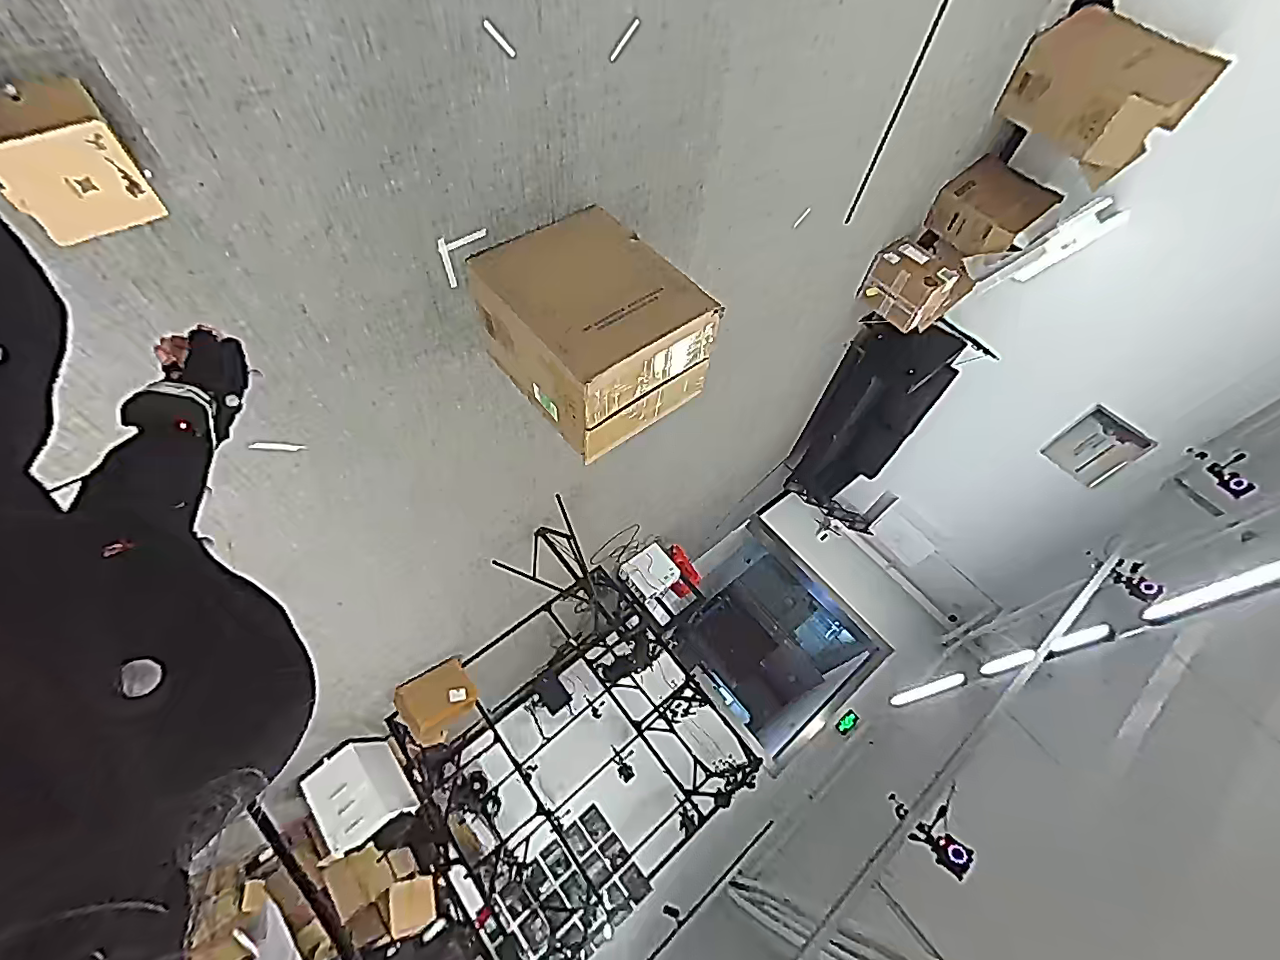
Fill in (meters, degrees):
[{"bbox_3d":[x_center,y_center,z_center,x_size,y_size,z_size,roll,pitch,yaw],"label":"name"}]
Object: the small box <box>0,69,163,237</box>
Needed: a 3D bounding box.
[{"bbox_3d":[-0.973,-0.551,0.910,0.179,0.176,0.168,-33,158,-22],"label":"small box"}]
